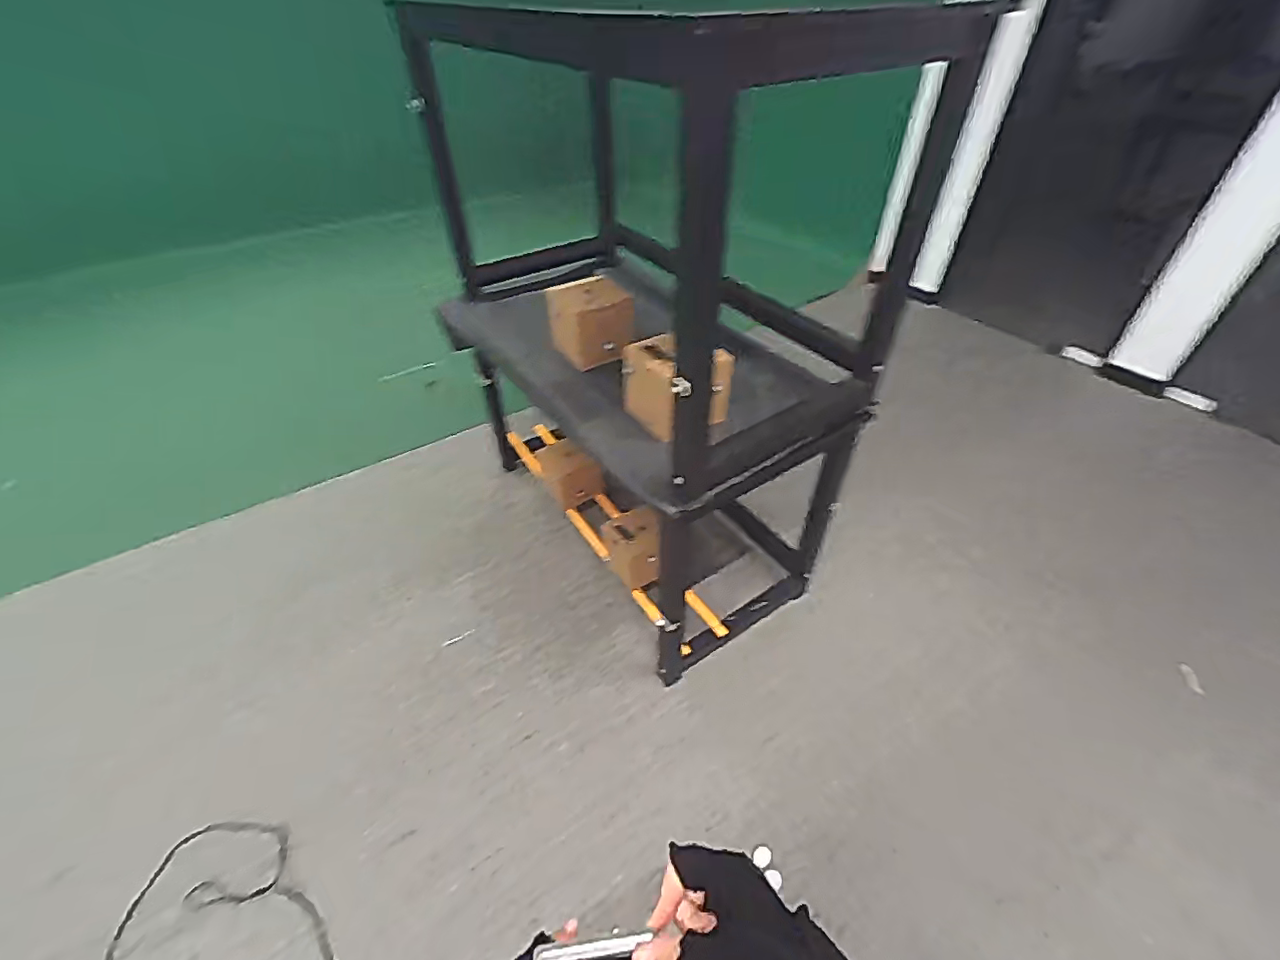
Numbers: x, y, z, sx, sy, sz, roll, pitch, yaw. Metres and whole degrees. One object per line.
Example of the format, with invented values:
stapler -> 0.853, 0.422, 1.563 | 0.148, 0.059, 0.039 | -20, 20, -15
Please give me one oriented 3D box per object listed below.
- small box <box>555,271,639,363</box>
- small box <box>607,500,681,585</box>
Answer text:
small box -> -0.114, -0.437, 1.452 | 0.168, 0.176, 0.179 | -23, 47, -21
small box -> 0.015, 0.197, 1.683 | 0.179, 0.176, 0.168 | -22, 47, -21
